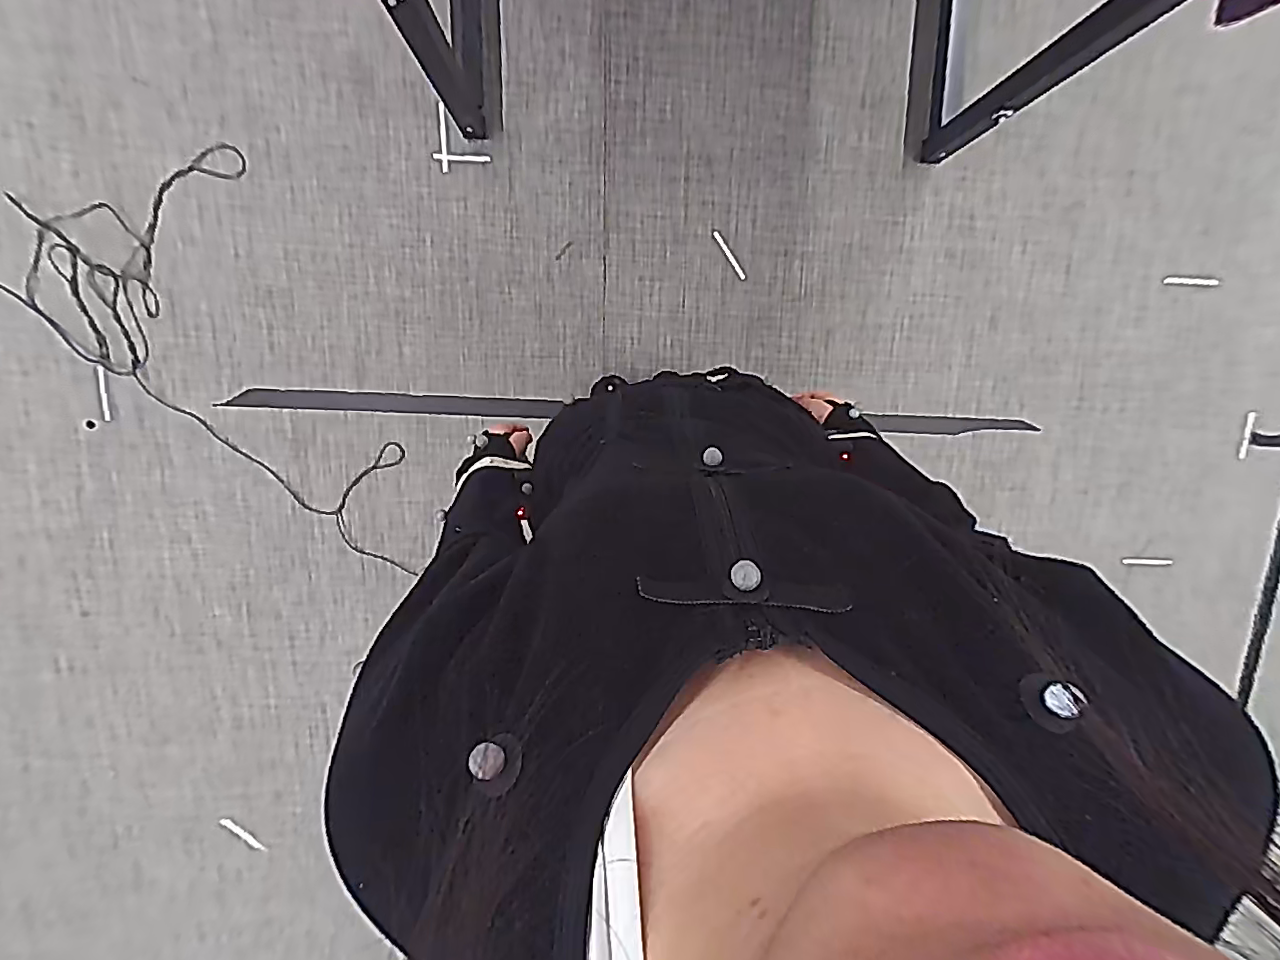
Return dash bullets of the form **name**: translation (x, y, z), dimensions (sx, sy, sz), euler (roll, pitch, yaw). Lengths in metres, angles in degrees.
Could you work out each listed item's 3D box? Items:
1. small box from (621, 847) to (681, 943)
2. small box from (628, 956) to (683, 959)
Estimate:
- **small box**: translation (0.029, 1.261, 1.650), dimensions (0.168, 0.176, 0.179), euler (3, 101, -3)
- **small box**: translation (0.042, 1.328, 1.328), dimensions (0.168, 0.176, 0.179), euler (1, 100, -3)
